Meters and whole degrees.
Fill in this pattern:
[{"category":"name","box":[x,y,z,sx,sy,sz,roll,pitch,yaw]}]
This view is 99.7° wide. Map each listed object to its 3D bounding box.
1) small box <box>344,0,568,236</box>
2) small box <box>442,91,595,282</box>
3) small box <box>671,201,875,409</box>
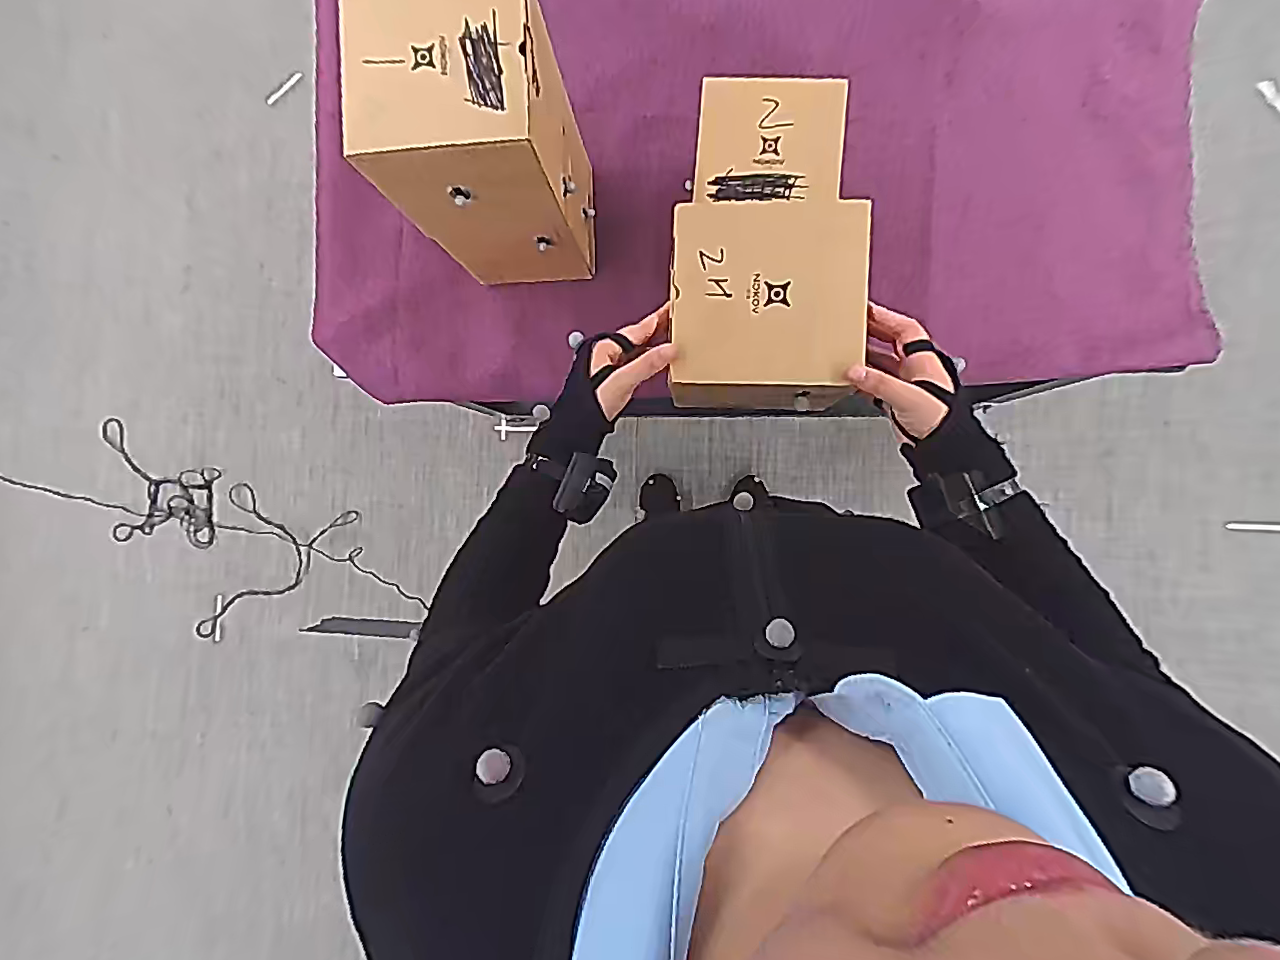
[{"category":"small box","box":[-0.174,-0.376,0.564,0.179,0.176,0.168,-2,89,5]},{"category":"small box","box":[-0.162,-0.378,0.728,0.179,0.176,0.168,-2,89,4]},{"category":"small box","box":[0.126,-0.168,0.565,0.179,0.176,0.168,2,90,7]}]
